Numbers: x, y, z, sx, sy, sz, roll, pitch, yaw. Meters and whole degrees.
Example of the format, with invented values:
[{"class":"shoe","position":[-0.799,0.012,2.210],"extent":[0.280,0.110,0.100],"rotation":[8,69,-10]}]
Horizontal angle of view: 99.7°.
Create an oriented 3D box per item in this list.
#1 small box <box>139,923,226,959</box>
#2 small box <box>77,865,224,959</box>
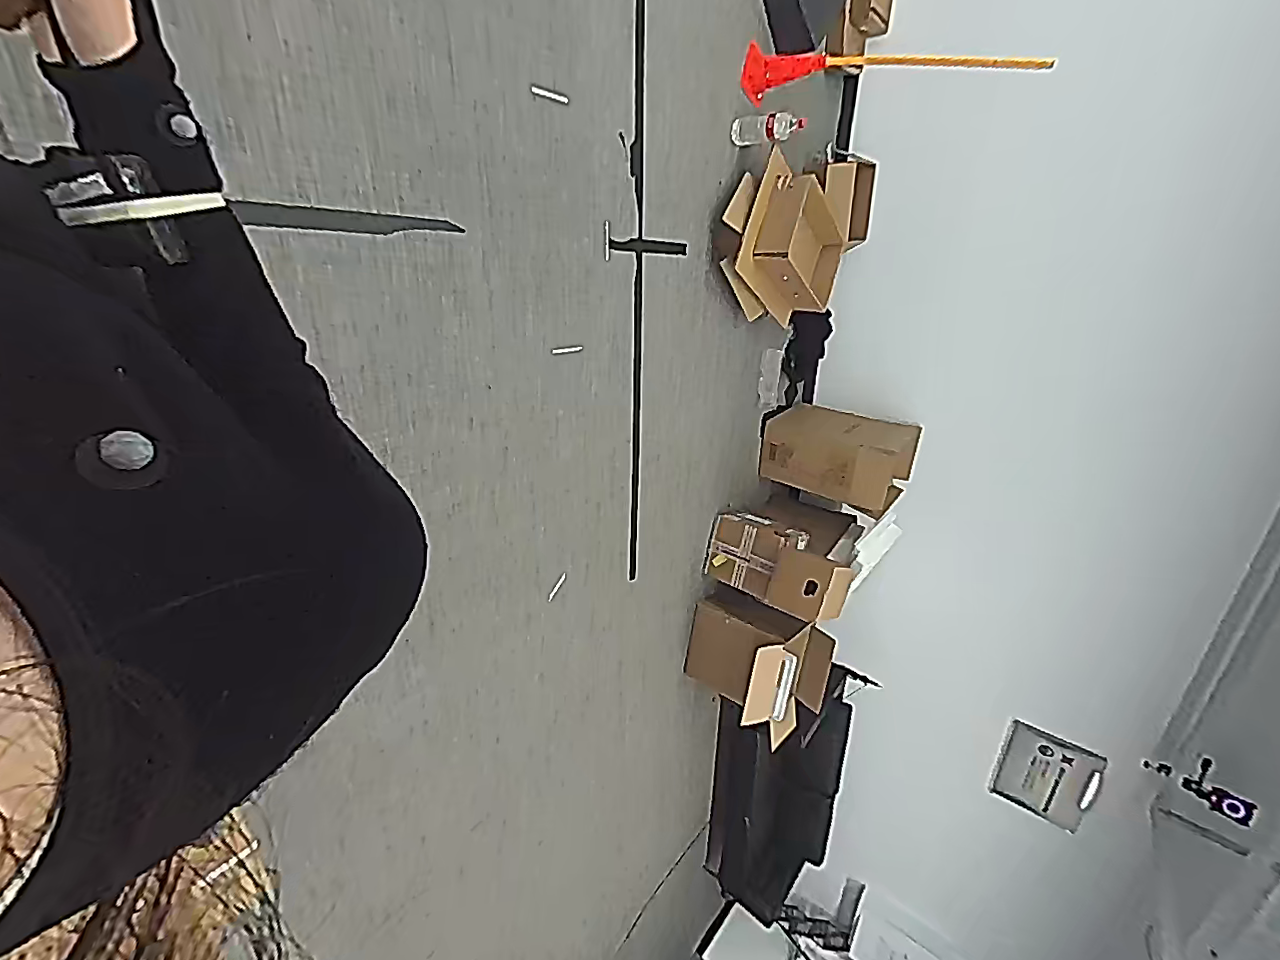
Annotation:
[{"class":"small box","position":[-0.852,0.969,0.985],"extent":[0.168,0.176,0.179],"rotation":[-28,127,-43]},{"class":"small box","position":[-0.975,0.932,1.084],"extent":[0.168,0.176,0.179],"rotation":[-27,125,-45]}]
